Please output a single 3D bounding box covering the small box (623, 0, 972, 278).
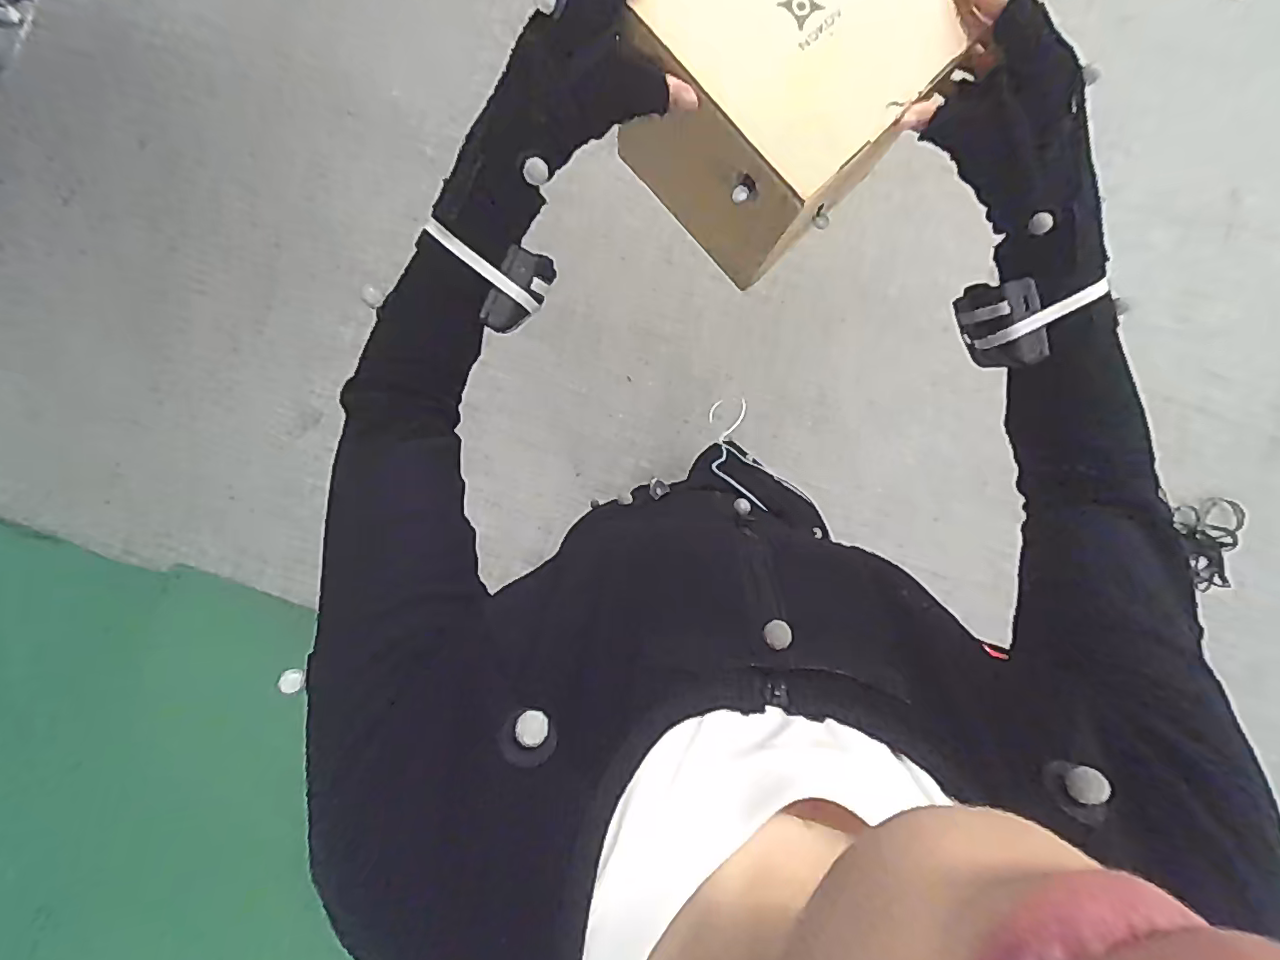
[{"bbox_3d":[0.099,-0.298,0.430,0.168,0.176,0.179,-43,93,-1],"label":"small box"}]
